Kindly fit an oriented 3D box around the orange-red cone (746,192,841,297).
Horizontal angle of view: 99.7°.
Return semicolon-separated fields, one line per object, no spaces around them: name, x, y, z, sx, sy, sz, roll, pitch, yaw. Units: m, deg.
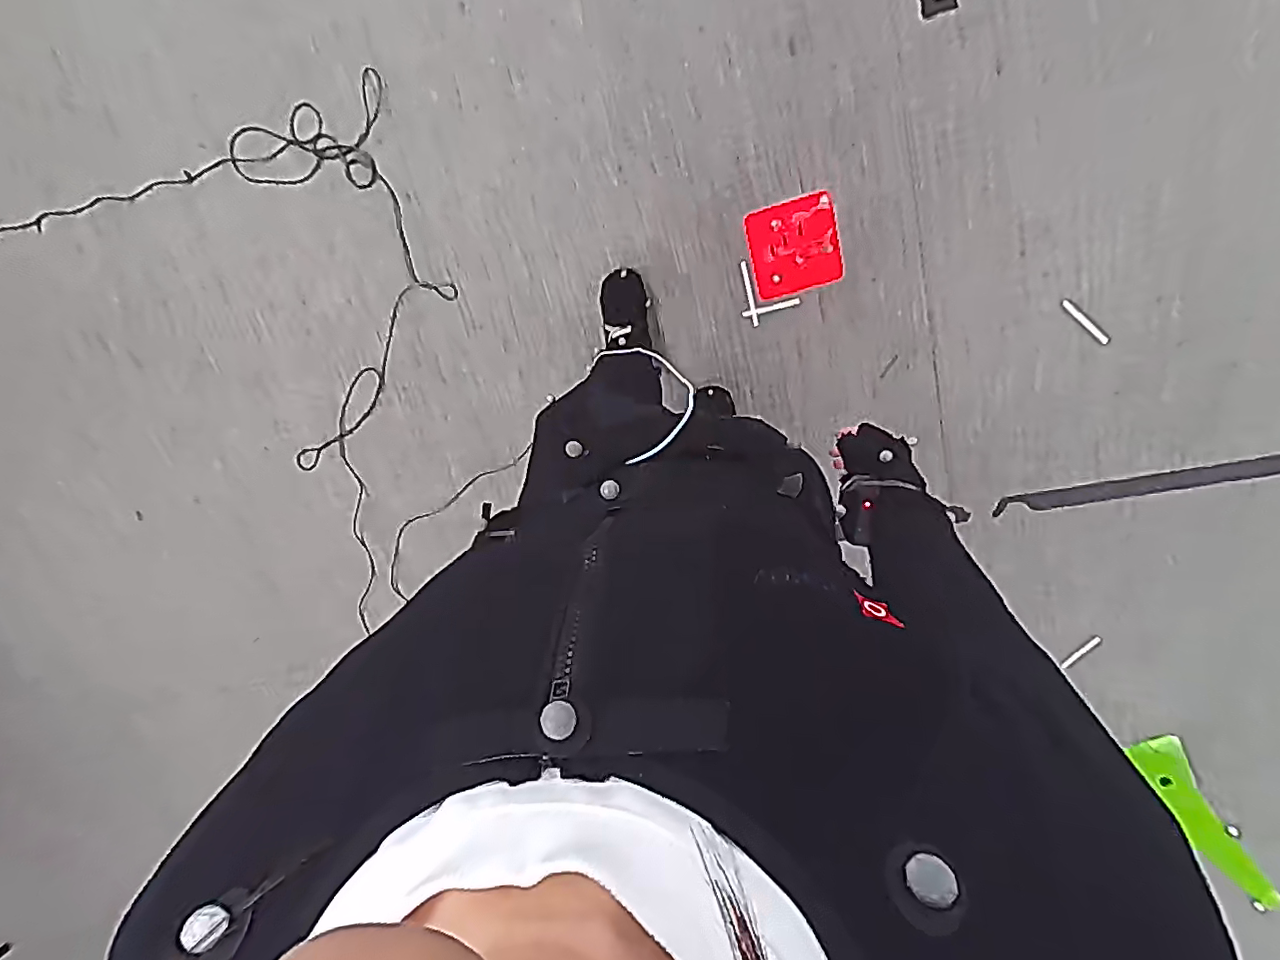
orange-red cone;0.334;-0.491;1.081;0.199;0.360;0.198;-12;104;9

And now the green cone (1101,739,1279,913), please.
green cone;1.377;0.859;1.325;0.202;0.368;0.200;-27;100;15
